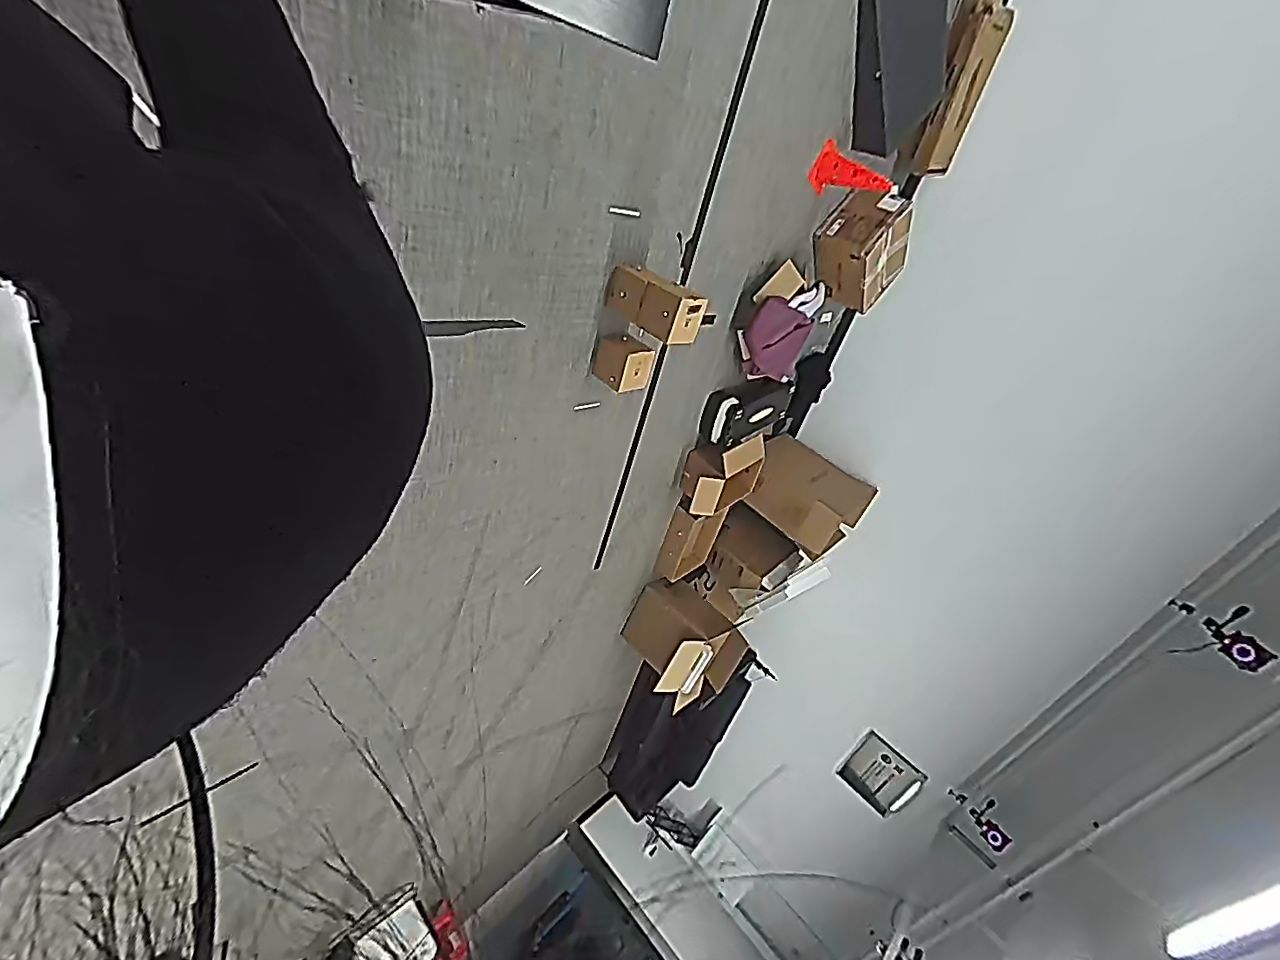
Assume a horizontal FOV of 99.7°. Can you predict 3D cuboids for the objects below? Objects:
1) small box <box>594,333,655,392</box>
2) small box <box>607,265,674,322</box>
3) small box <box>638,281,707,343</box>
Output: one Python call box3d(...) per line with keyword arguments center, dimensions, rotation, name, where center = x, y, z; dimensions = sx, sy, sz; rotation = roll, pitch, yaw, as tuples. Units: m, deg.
box3d(center=(-0.072, -0.492, 2.251), dimensions=(0.168, 0.176, 0.179), rotation=(-21, 139, -43), name="small box")
box3d(center=(-0.002, -0.719, 2.092), dimensions=(0.179, 0.176, 0.168), rotation=(-17, 136, -45), name="small box")
box3d(center=(0.117, -0.628, 2.018), dimensions=(0.168, 0.176, 0.179), rotation=(-18, 138, -46), name="small box")
